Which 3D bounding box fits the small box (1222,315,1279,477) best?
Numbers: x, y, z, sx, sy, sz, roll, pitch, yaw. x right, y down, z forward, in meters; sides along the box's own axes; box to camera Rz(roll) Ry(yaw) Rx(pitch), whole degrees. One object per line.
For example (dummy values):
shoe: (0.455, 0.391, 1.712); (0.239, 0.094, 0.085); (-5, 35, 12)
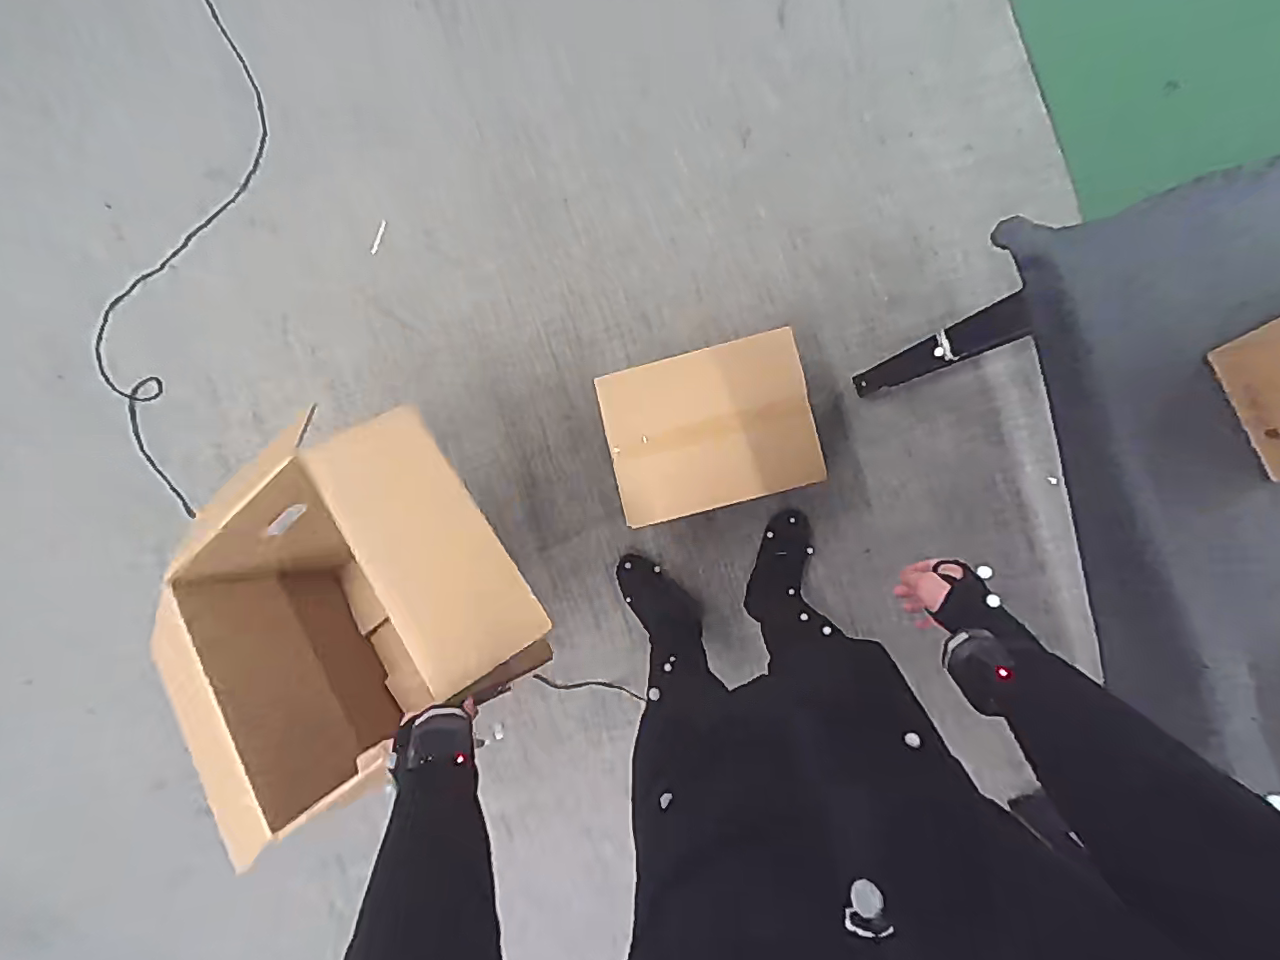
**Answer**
small box: (0.747, -0.108, 0.531); (0.179, 0.176, 0.168); (-28, 91, 0)
